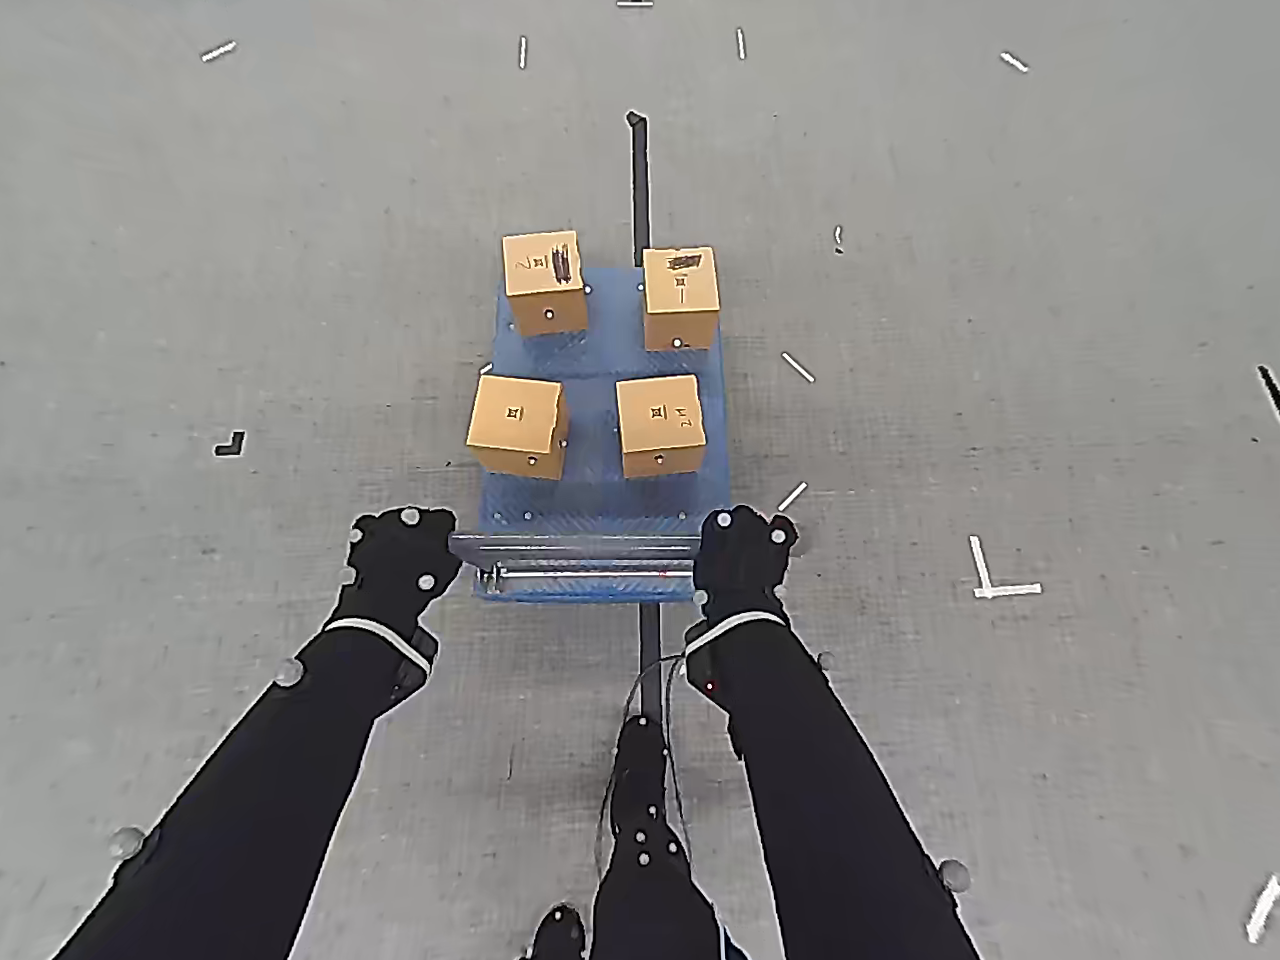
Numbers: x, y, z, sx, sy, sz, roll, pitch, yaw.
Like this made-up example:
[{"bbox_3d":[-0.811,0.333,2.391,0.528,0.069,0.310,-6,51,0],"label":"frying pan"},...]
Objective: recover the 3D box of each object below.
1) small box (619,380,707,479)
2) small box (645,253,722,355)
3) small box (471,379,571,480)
[{"bbox_3d":[0.047,-0.107,1.218,0.179,0.176,0.168,-5,72,-2],"label":"small box"},{"bbox_3d":[0.101,-0.427,1.322,0.168,0.176,0.179,-2,73,-2],"label":"small box"},{"bbox_3d":[-0.257,-0.108,1.213,0.179,0.176,0.168,7,72,0],"label":"small box"}]
